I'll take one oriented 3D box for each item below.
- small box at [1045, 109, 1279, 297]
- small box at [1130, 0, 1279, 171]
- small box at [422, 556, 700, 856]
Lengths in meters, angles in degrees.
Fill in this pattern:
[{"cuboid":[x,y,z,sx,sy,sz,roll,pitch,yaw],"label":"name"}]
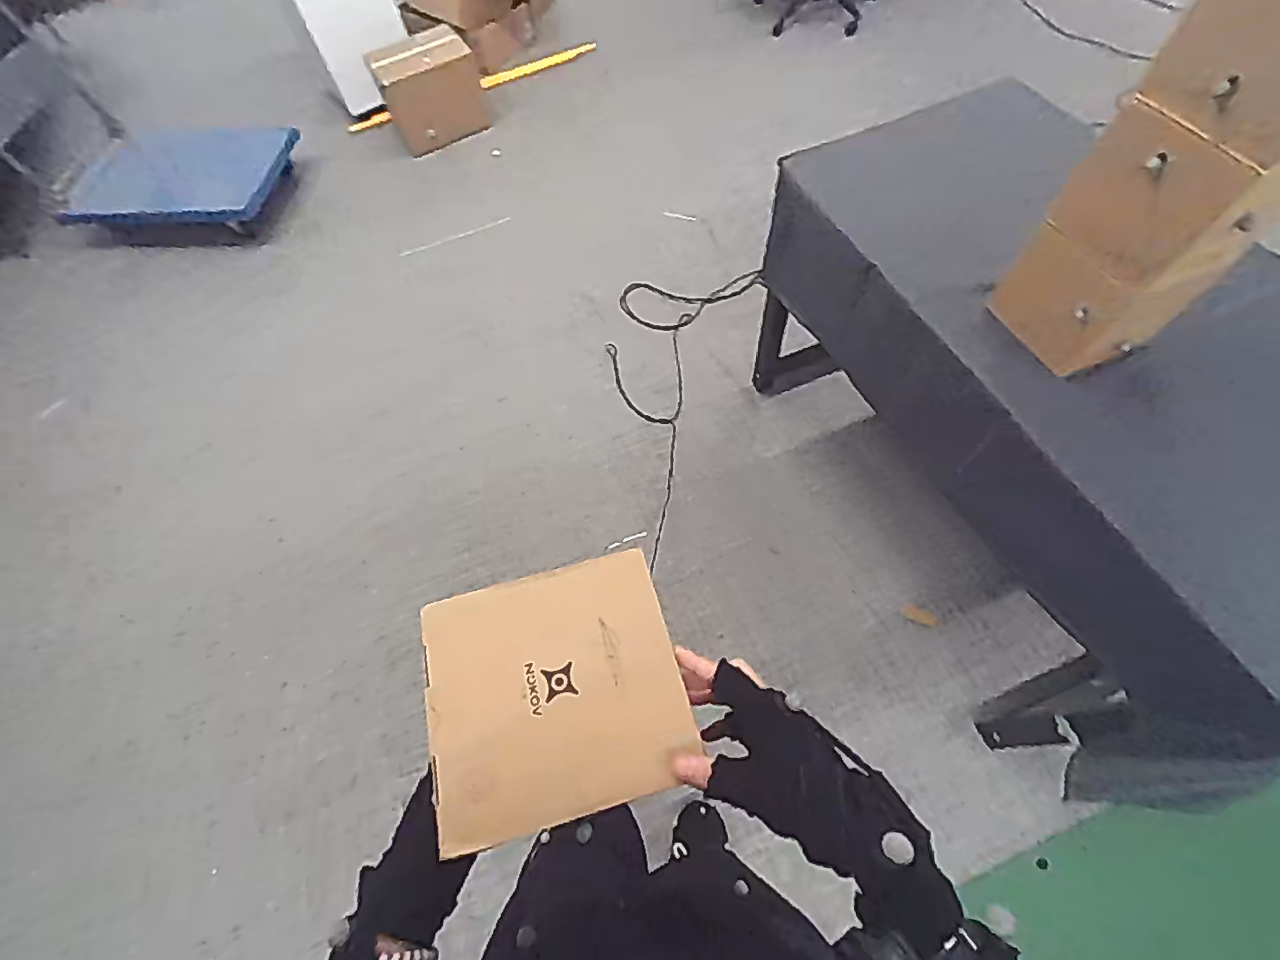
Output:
[{"cuboid":[0.677,-0.355,0.678,0.168,0.176,0.179,-22,62,-8],"label":"small box"},{"cuboid":[0.671,-0.437,0.537,0.168,0.176,0.179,-20,62,-7],"label":"small box"},{"cuboid":[-0.060,0.187,0.447,0.179,0.176,0.168,-14,60,-7],"label":"small box"}]
